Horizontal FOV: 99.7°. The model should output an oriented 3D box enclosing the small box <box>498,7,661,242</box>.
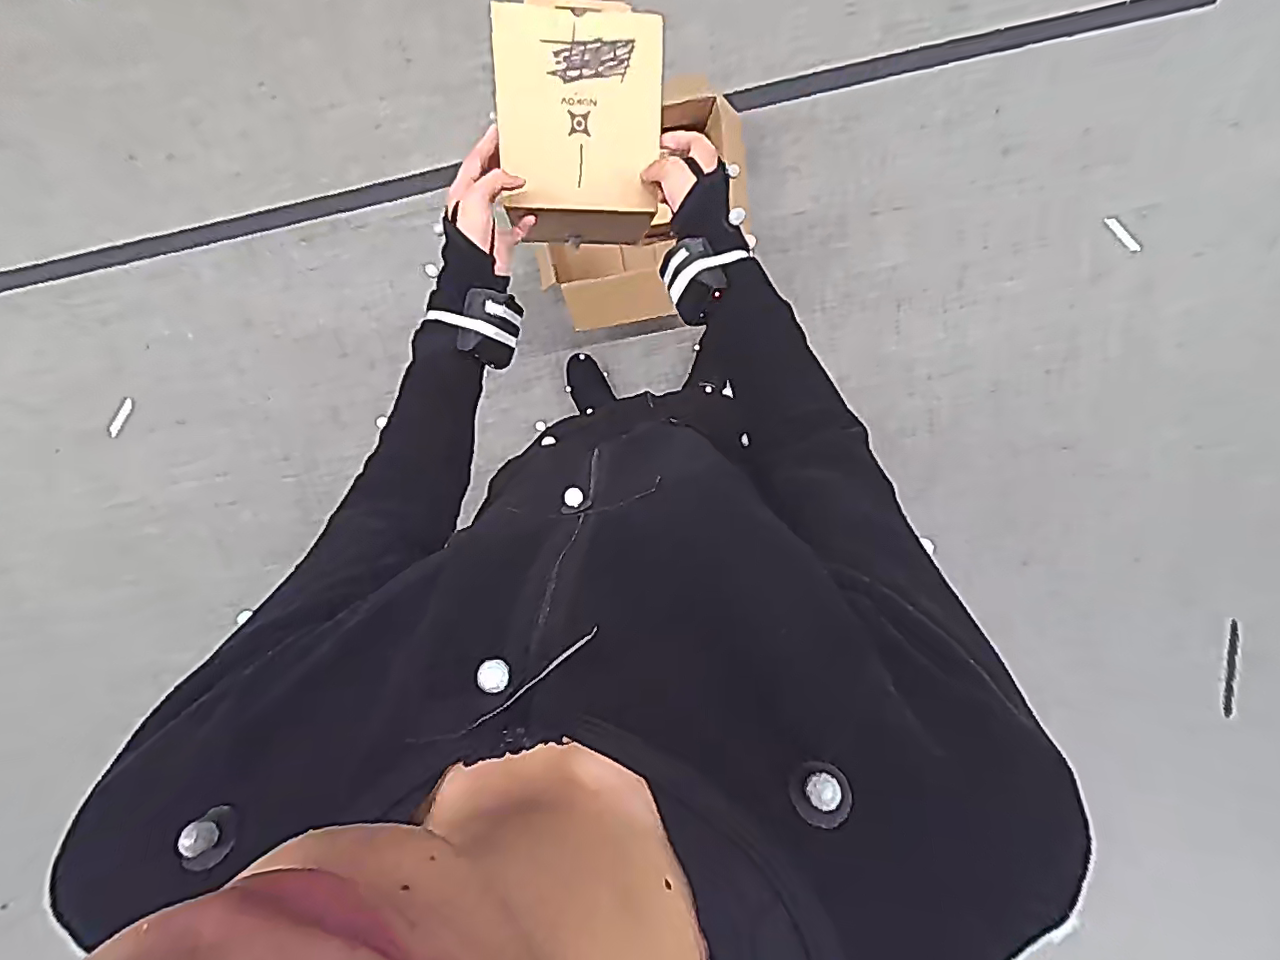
[{"bbox_3d":[-0.072,-0.393,0.631,0.168,0.176,0.179,-2,103,-8],"label":"small box"}]
